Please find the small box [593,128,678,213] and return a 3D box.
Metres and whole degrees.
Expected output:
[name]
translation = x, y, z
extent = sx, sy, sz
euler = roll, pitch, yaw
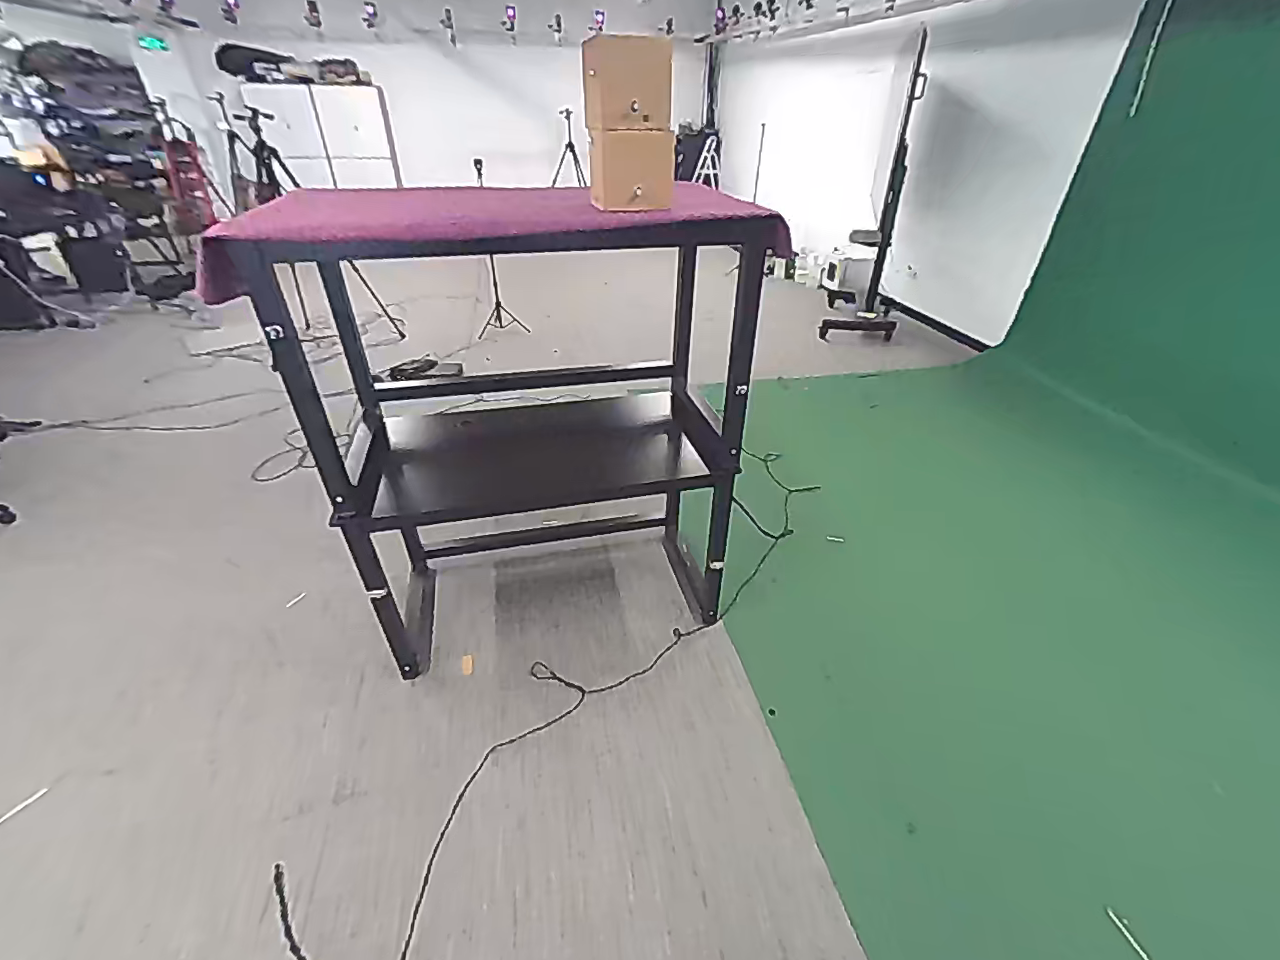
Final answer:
[small box]
translation = -0.017, -0.758, 1.323
extent = 0.179, 0.176, 0.168
euler = -7, 34, -11
